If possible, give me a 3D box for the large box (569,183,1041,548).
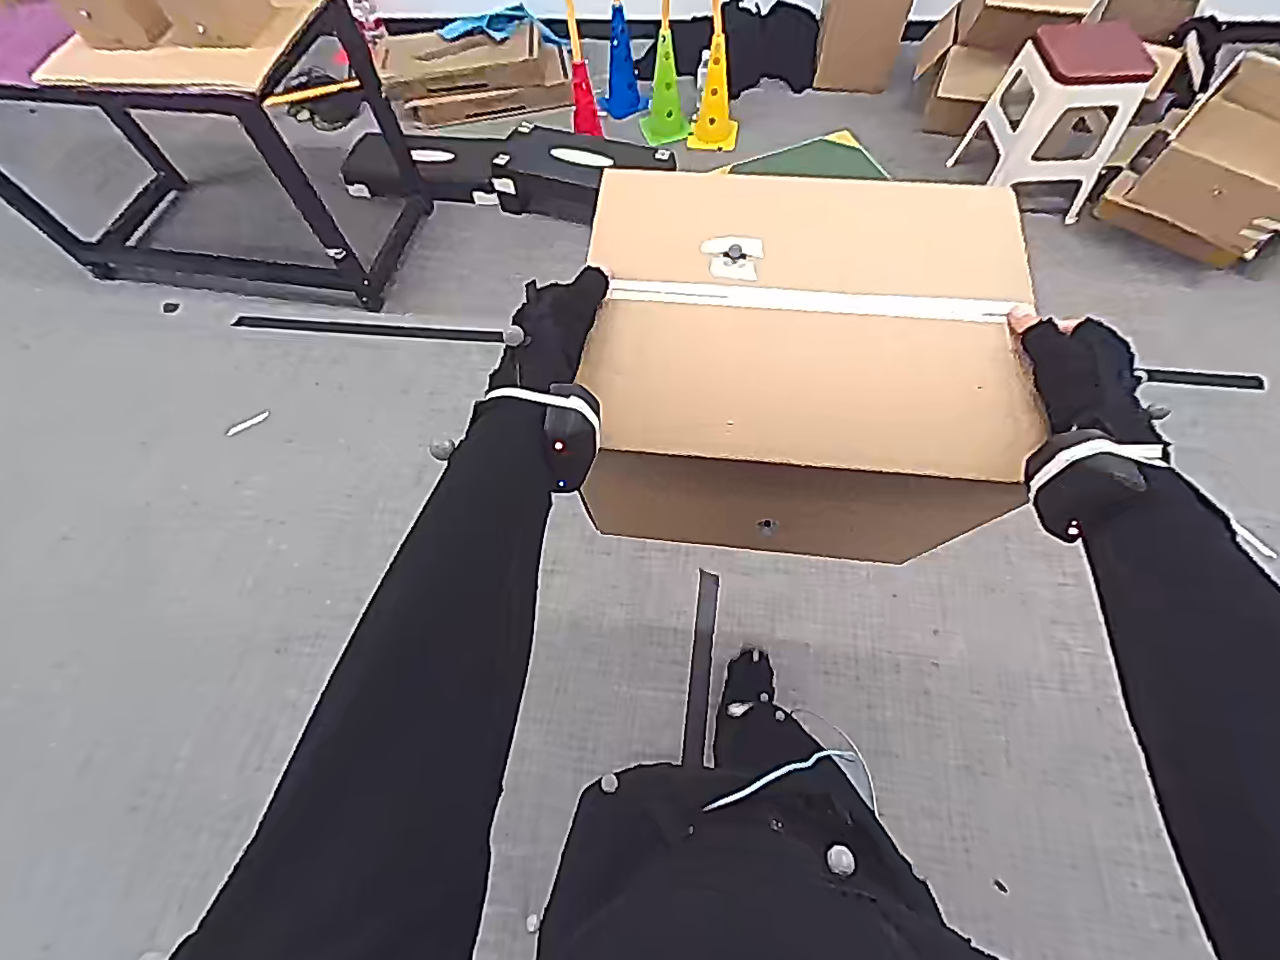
[{"bbox_3d":[0.160,-0.111,0.649,0.408,0.320,0.320,5,70,6],"label":"large box"}]
